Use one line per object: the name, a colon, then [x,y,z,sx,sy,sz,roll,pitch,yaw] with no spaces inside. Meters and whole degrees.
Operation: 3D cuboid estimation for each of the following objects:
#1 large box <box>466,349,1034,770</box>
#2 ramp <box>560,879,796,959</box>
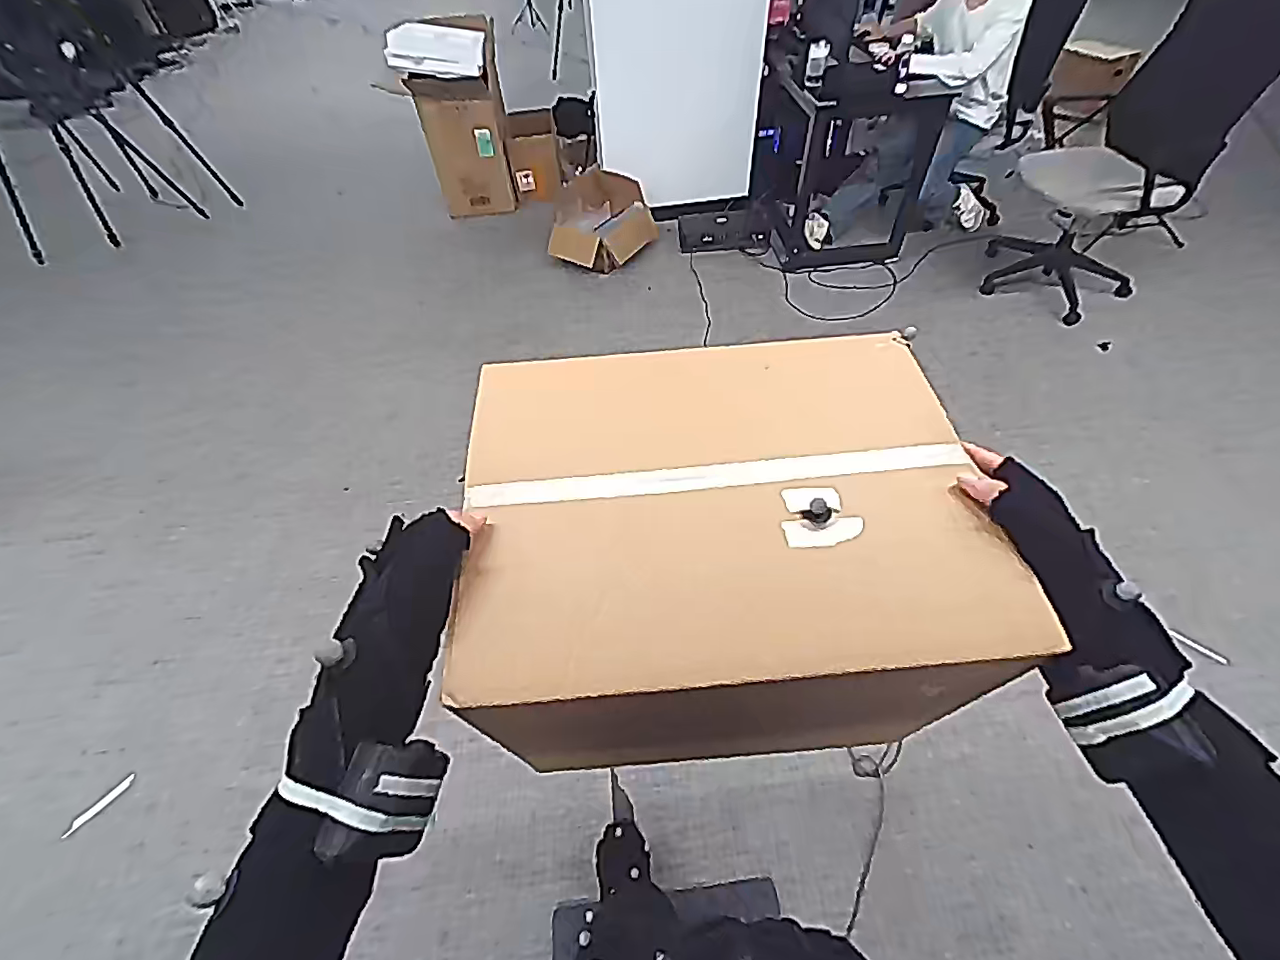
large box: [0.068,0.094,0.573,0.408,0.320,0.320,-5,55,-1]
ramp: [0.116,1.246,0.828,0.509,0.206,0.991,-9,51,-2]
